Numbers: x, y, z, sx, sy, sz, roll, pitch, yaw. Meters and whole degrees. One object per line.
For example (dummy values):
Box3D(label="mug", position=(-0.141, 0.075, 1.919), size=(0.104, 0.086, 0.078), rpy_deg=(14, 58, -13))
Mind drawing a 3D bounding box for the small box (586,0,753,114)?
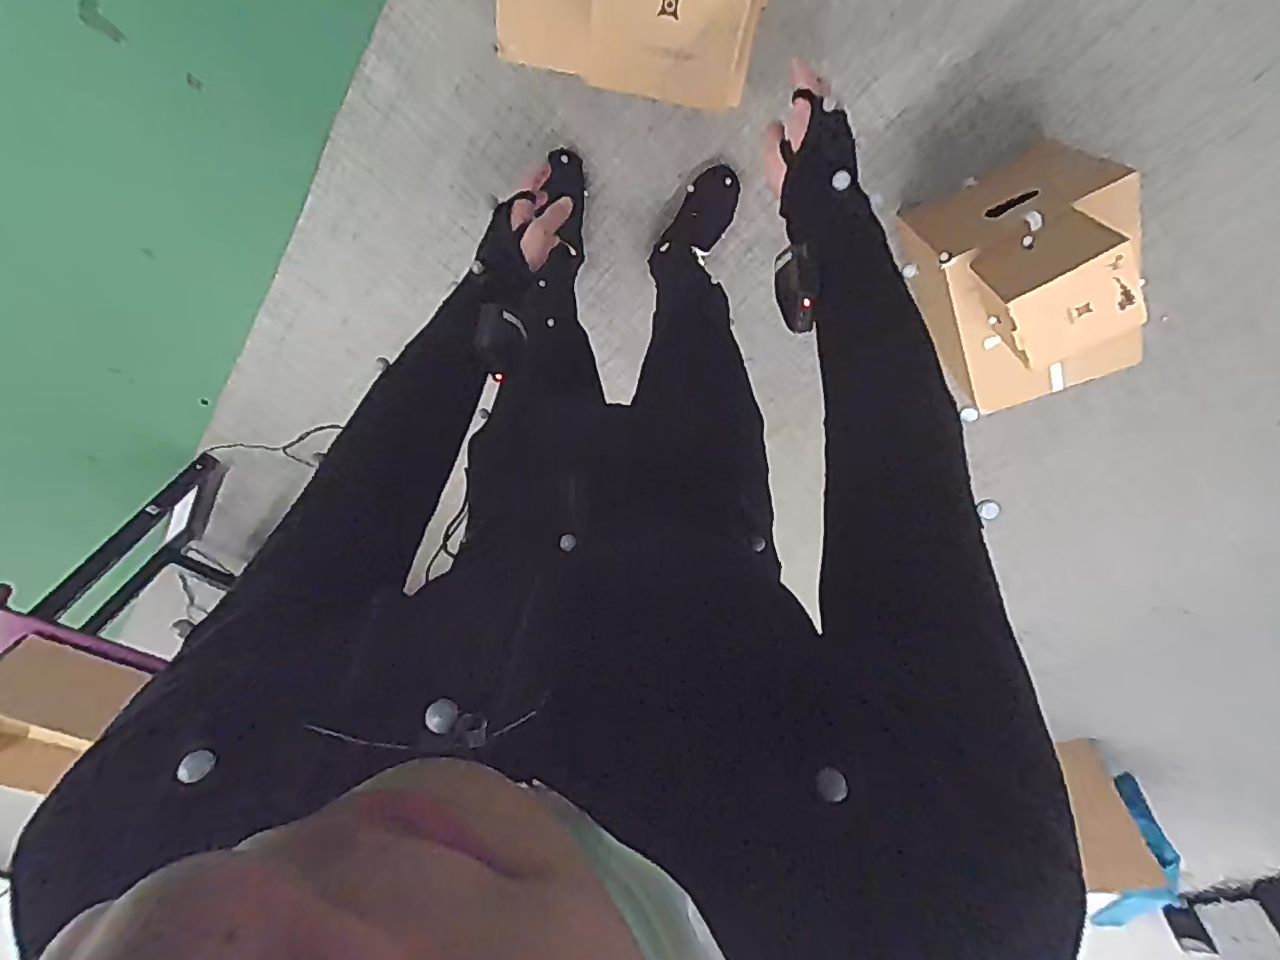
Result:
Box3D(label="small box", position=(0.040, -0.547, 0.613), size=(0.168, 0.176, 0.179), rpy_deg=(11, 132, -3))

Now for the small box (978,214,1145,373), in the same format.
Box3D(label="small box", position=(0.725, -0.328, 0.951), size=(0.179, 0.176, 0.168), rpy_deg=(-28, 123, 27))

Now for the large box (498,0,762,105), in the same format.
Box3D(label="large box", position=(0.003, -0.853, 0.895), size=(0.408, 0.320, 0.320), rpy_deg=(10, 129, -2))
